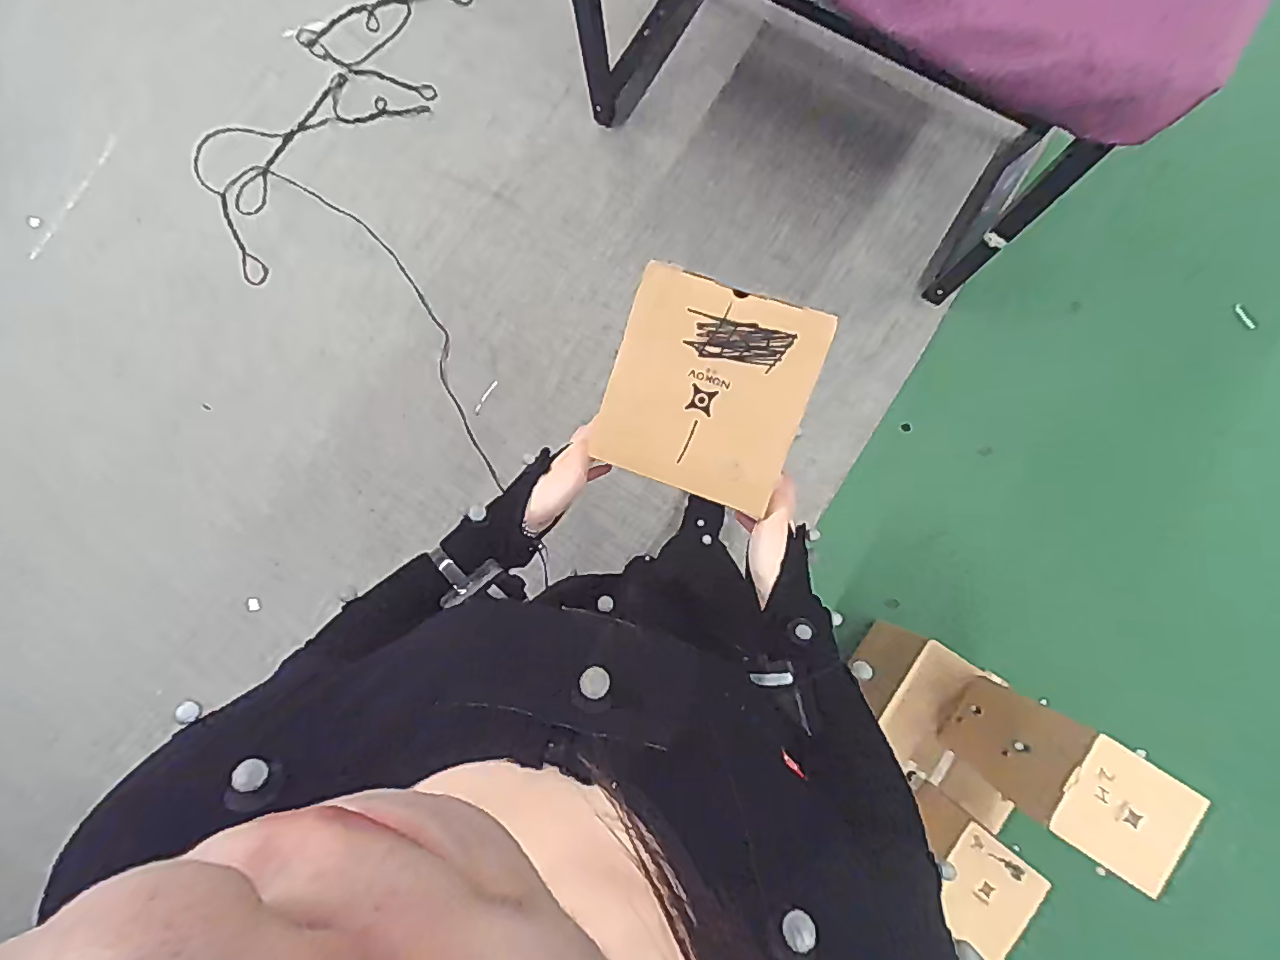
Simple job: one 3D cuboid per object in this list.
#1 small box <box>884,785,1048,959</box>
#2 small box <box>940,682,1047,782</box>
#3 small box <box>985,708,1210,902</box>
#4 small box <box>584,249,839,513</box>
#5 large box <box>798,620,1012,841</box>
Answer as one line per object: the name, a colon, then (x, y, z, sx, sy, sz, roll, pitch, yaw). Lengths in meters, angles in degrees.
small box: (0.586, 0.720, 1.004, 0.168, 0.176, 0.179, 39, 87, 6)
small box: (0.721, 0.513, 1.023, 0.179, 0.176, 0.168, 34, 87, 6)
small box: (0.707, 0.495, 0.859, 0.179, 0.176, 0.168, 33, 87, 6)
small box: (0.066, -0.090, 0.521, 0.168, 0.176, 0.179, 20, 100, 7)
large box: (0.634, 0.599, 1.262, 0.320, 0.320, 0.408, 34, 87, 7)
